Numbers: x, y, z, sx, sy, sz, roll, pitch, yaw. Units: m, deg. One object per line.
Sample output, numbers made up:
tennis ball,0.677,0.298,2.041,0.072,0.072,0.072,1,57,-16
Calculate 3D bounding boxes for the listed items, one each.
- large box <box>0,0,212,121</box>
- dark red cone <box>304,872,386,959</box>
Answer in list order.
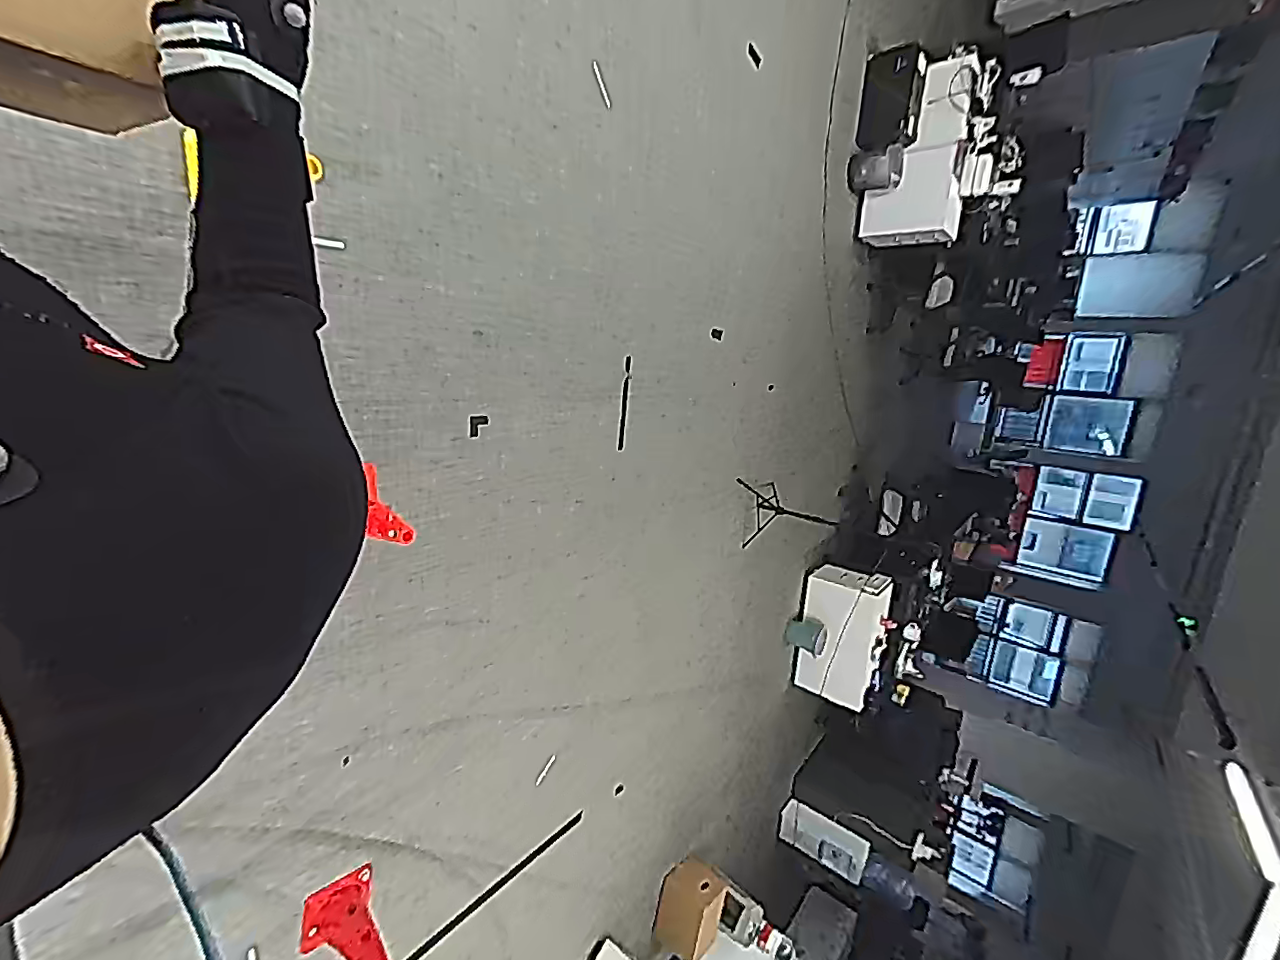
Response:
large box,-0.530,-0.440,0.279,0.408,0.320,0.320,-13,118,-52
dark red cone,-0.800,1.370,1.564,0.201,0.394,0.202,-2,102,-51
